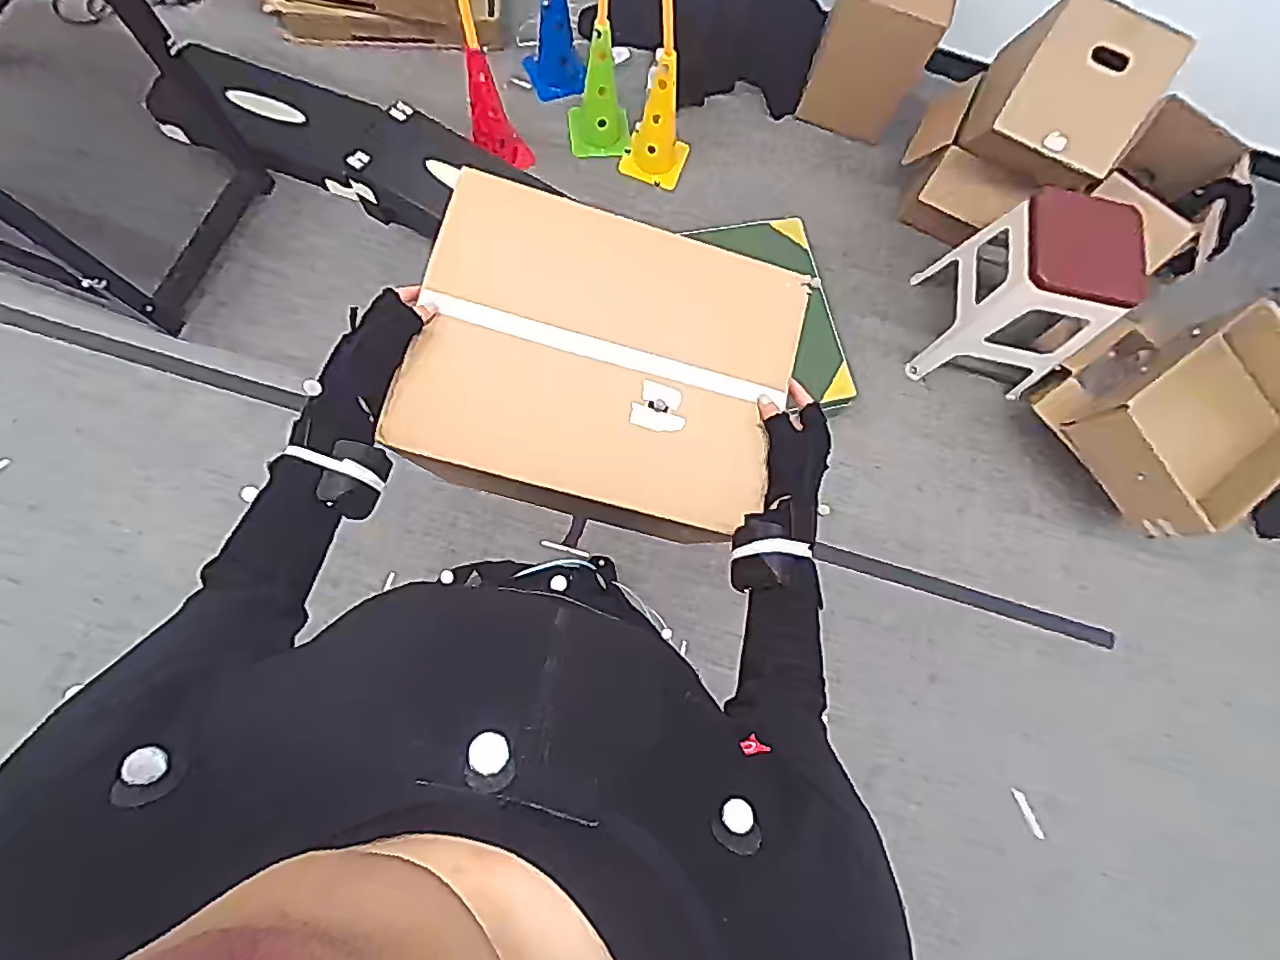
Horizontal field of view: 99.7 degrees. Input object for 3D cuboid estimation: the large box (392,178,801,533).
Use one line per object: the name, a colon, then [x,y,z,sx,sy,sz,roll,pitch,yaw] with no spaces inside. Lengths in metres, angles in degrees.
large box: [-0.056,-0.123,0.739,0.408,0.320,0.320,15,82,-8]
